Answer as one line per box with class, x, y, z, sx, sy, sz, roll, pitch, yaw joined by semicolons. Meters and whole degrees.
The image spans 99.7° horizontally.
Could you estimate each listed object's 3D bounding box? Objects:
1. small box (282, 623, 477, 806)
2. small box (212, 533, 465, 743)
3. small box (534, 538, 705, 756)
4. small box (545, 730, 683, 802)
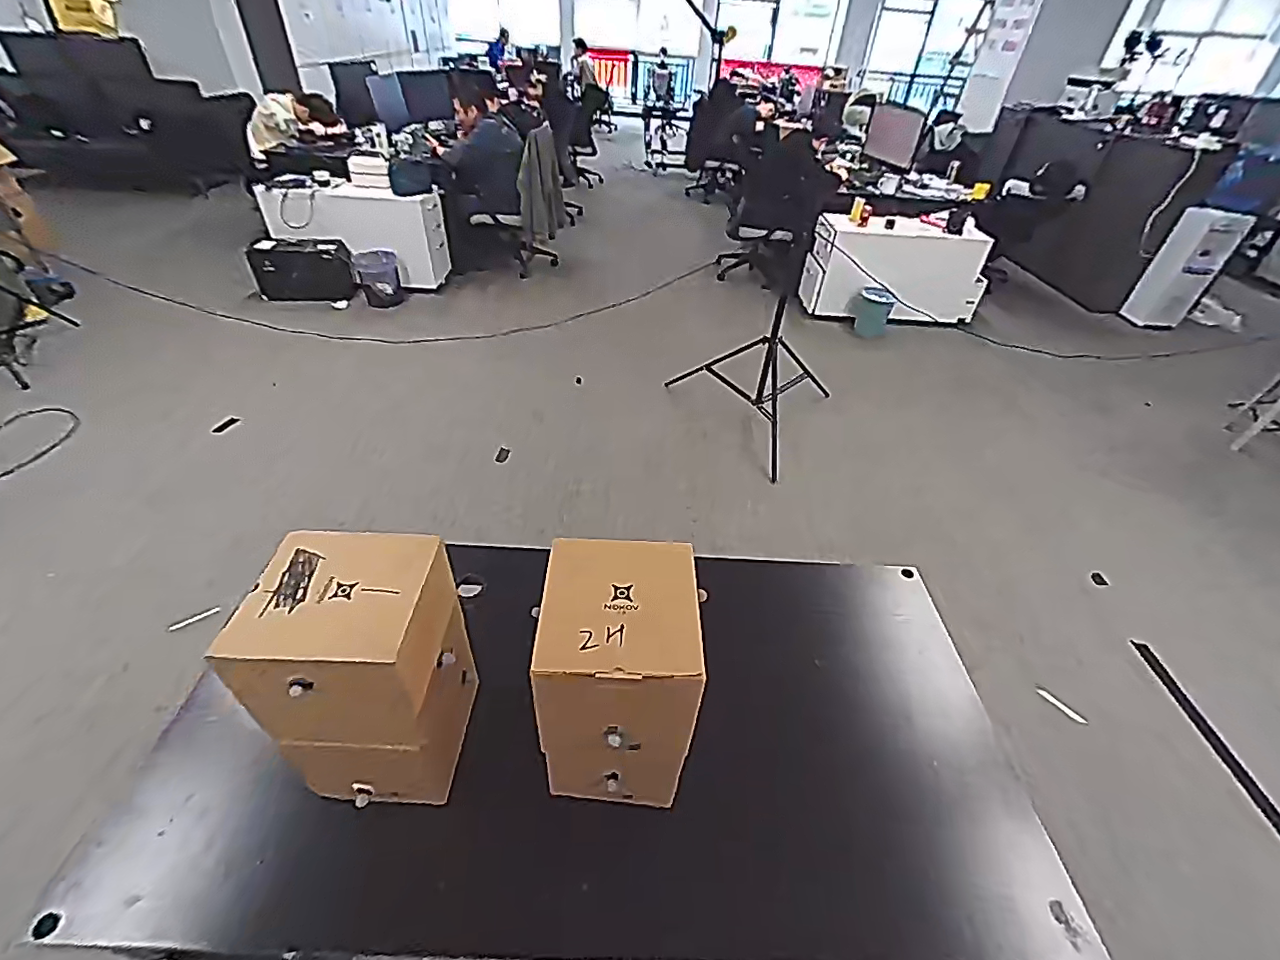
small box;-0.323;0.304;0.719;0.168;0.176;0.179;2;40;-1
small box;-0.315;0.178;0.612;0.179;0.176;0.168;2;39;-2
small box;-0.023;0.189;0.623;0.168;0.176;0.179;2;40;-1
small box;-0.026;0.311;0.735;0.168;0.176;0.179;5;40;1
